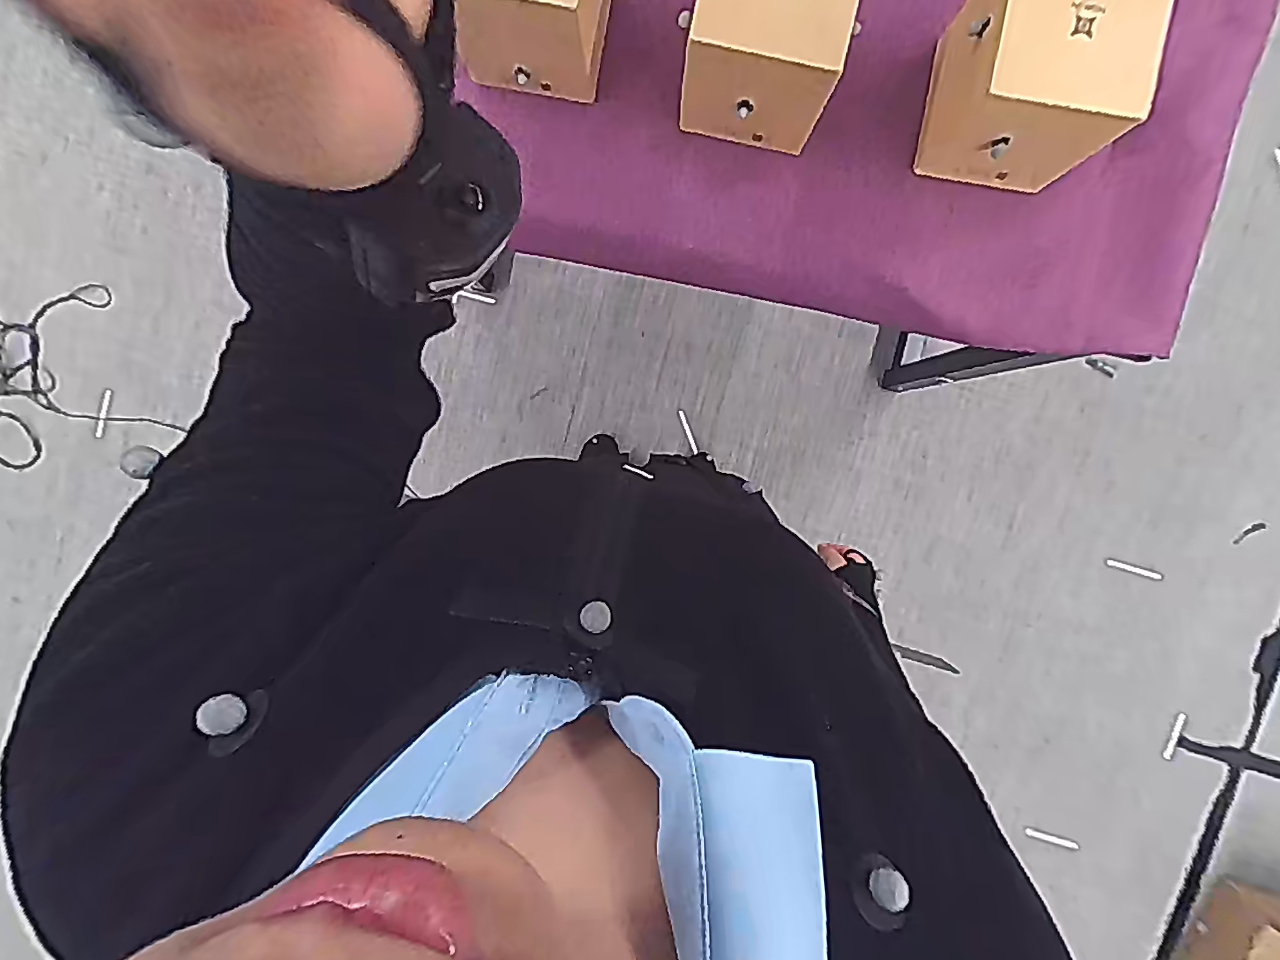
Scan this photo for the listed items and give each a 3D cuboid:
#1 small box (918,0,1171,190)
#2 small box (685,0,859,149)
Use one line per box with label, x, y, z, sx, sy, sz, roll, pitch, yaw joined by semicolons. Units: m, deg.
small box;0.456;-0.473;0.636;0.168;0.176;0.179;10;93;1
small box;0.152;-0.531;0.637;0.168;0.176;0.179;13;94;-1
